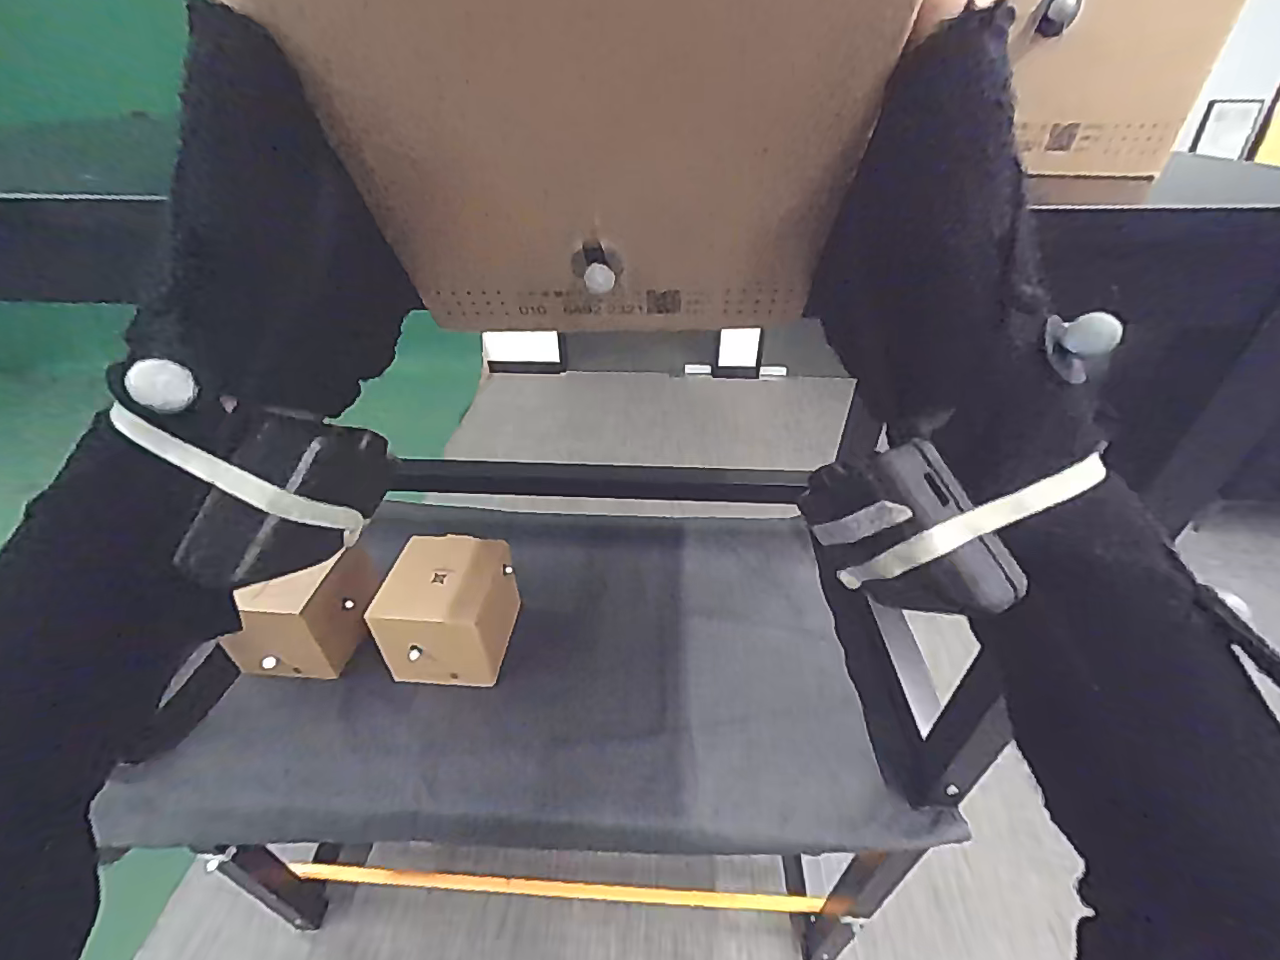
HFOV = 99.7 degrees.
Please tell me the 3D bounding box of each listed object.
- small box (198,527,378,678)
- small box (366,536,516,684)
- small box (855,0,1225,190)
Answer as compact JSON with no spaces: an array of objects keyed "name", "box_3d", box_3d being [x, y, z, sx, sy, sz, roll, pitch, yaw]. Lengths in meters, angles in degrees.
[{"name":"small box","box_3d":[-0.564,0.202,0.902,0.168,0.176,0.179,3,38,3]},{"name":"small box","box_3d":[-0.312,0.214,0.892,0.168,0.176,0.179,3,37,3]},{"name":"small box","box_3d":[0.252,-0.303,0.364,0.168,0.176,0.179,9,38,11]}]
